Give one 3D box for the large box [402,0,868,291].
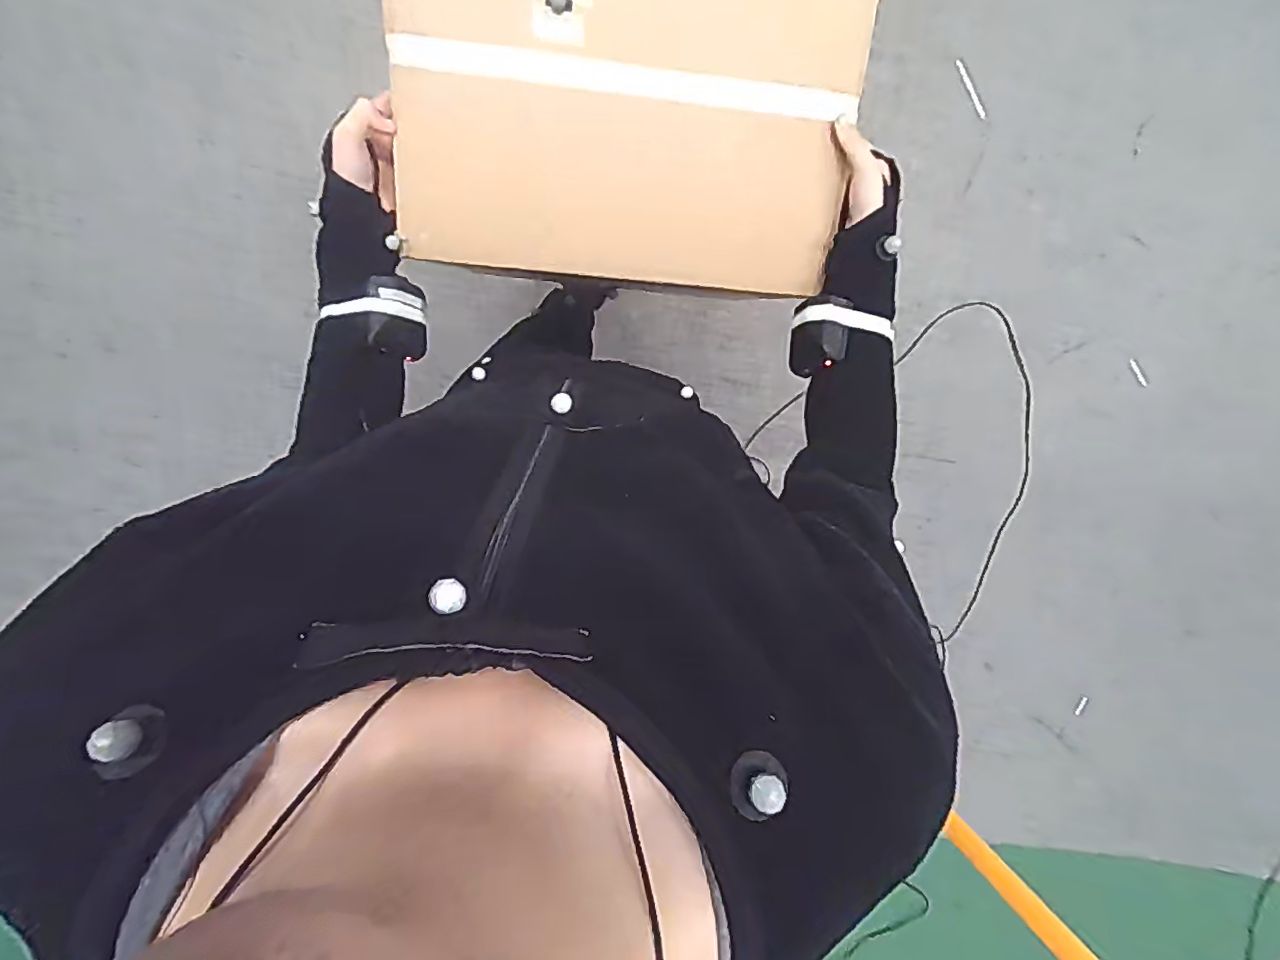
[{"bbox_3d":[-0.014,-0.392,0.619,0.408,0.320,0.320,3,107,-6],"label":"large box"}]
